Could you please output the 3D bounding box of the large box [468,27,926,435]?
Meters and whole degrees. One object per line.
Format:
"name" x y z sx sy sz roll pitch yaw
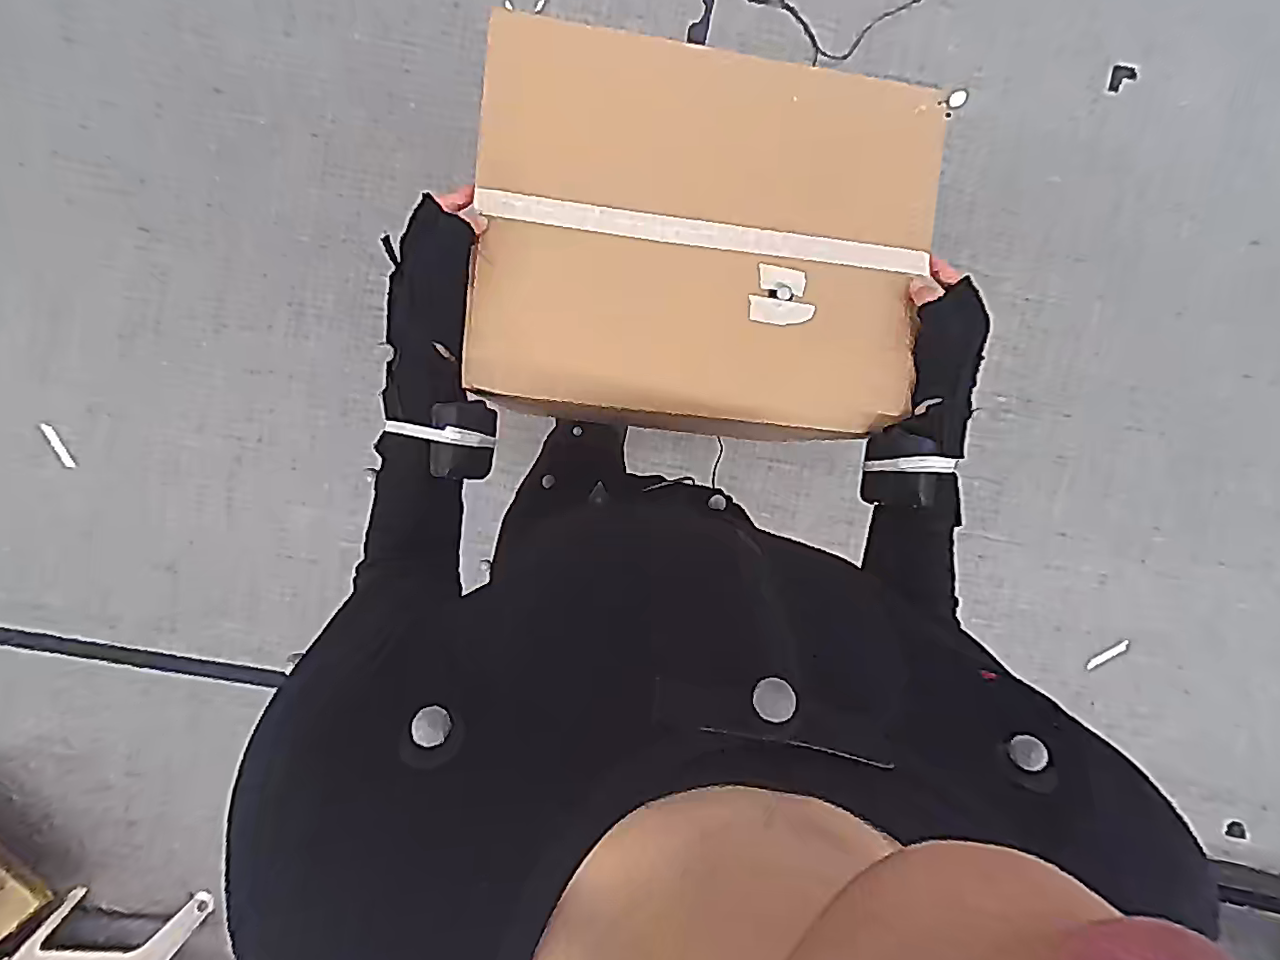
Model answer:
"large box" 0.038 -0.224 0.633 0.408 0.320 0.320 6 94 -7
